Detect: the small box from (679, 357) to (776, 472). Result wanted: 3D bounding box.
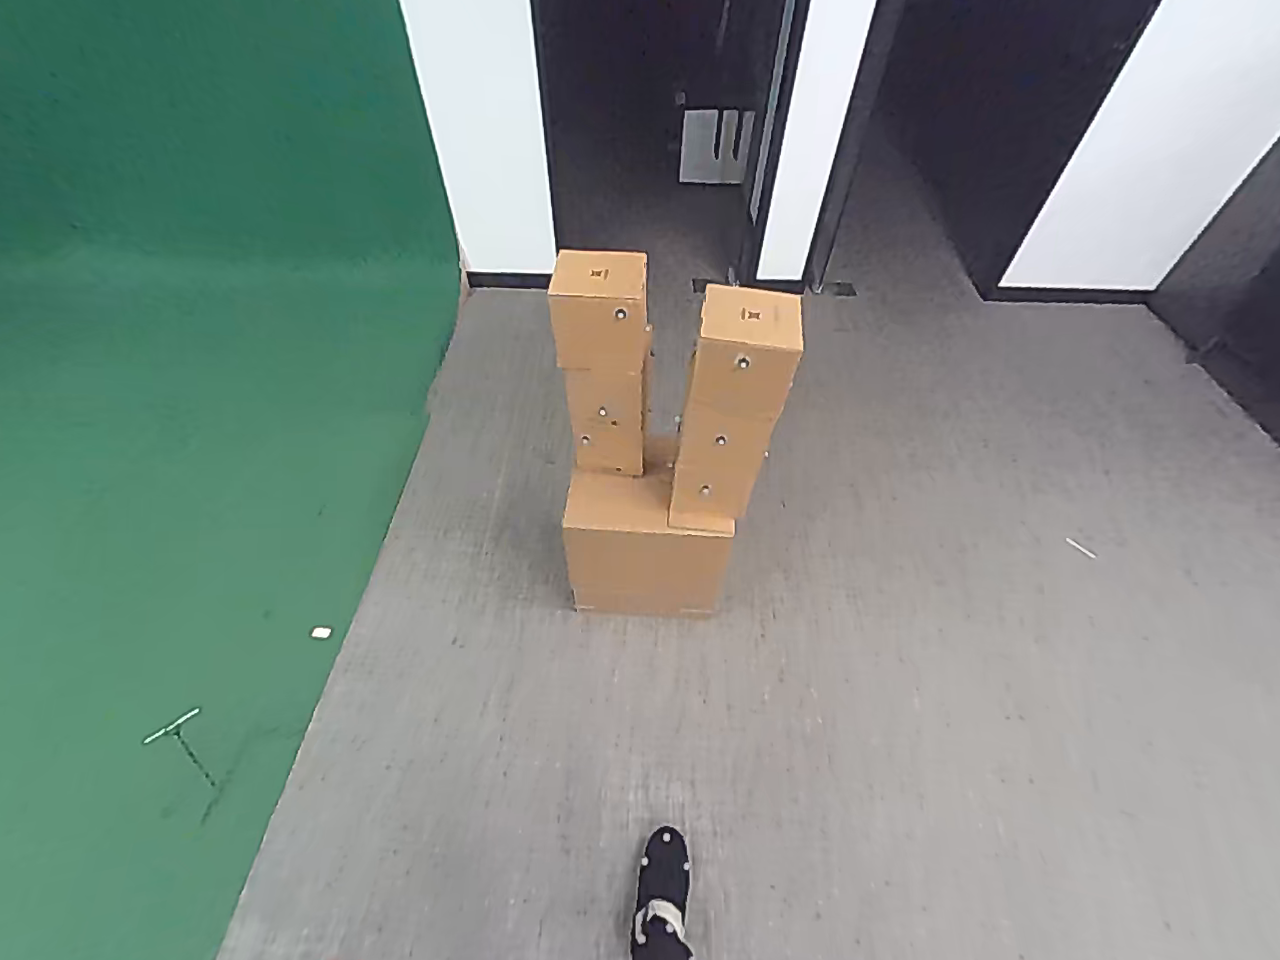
[{"bbox_3d":[0.180,-0.134,1.137,0.179,0.176,0.168,6,51,3],"label":"small box"}]

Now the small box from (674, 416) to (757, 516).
[{"bbox_3d":[0.172,-0.030,1.263,0.179,0.176,0.168,5,53,3],"label":"small box"}]

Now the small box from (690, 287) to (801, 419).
[{"bbox_3d":[0.192,-0.233,1.008,0.179,0.176,0.168,9,52,4],"label":"small box"}]
